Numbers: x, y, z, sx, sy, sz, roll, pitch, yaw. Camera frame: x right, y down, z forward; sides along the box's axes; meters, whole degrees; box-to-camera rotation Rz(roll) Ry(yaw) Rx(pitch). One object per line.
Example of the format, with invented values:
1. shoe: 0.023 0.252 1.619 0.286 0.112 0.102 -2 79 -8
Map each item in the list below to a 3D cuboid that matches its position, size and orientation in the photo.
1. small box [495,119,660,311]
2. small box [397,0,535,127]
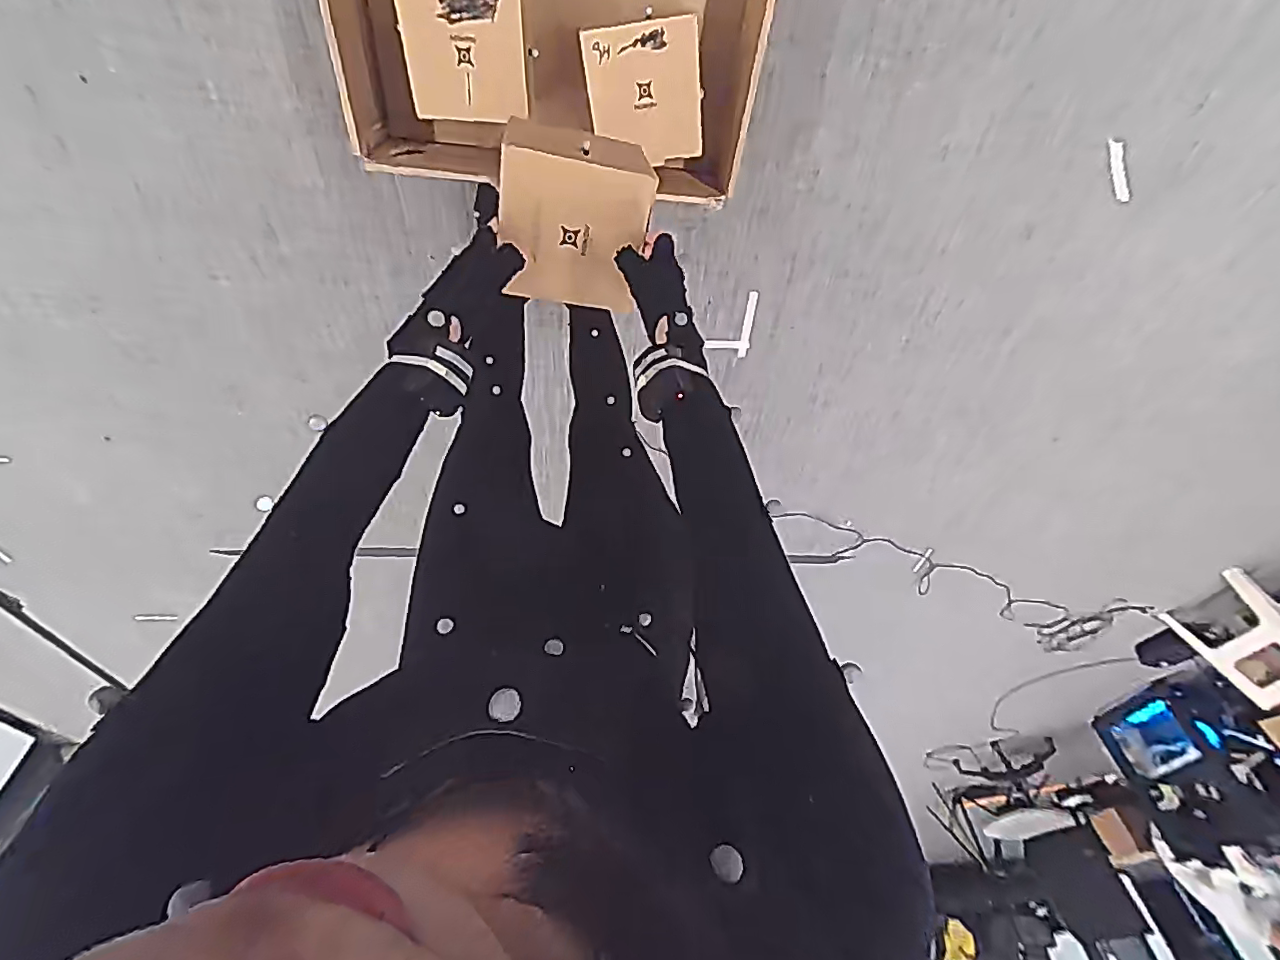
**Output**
1. small box: -0.089 -0.341 0.696 0.179 0.176 0.168 4 131 -14
2. small box: -0.247 -0.646 0.801 0.168 0.176 0.179 0 134 -6
